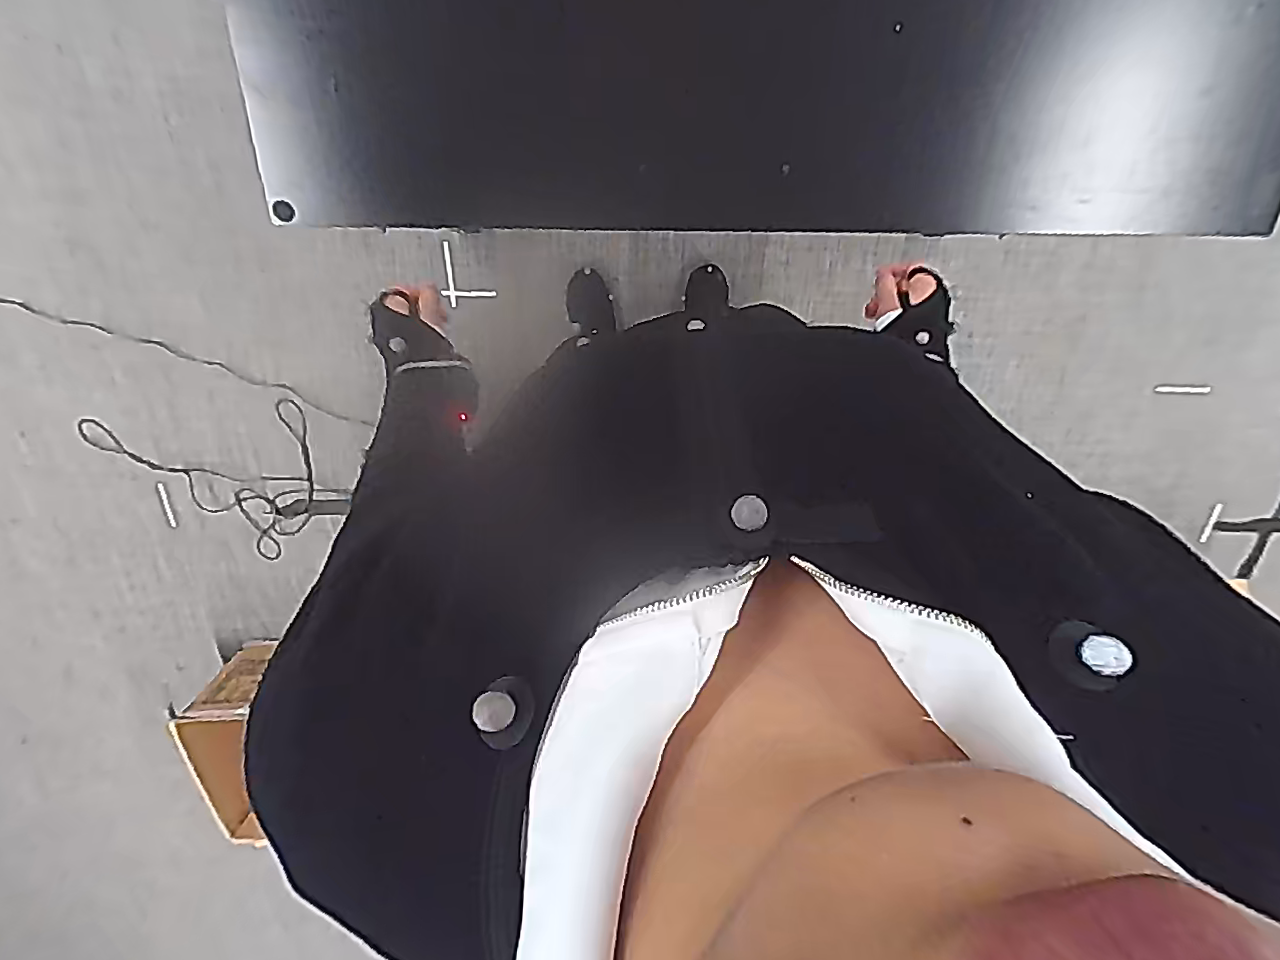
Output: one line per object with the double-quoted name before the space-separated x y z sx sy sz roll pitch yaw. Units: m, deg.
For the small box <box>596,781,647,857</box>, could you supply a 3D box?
"small box" -0.069 1.207 1.933 0.168 0.176 0.179 4 111 -4
